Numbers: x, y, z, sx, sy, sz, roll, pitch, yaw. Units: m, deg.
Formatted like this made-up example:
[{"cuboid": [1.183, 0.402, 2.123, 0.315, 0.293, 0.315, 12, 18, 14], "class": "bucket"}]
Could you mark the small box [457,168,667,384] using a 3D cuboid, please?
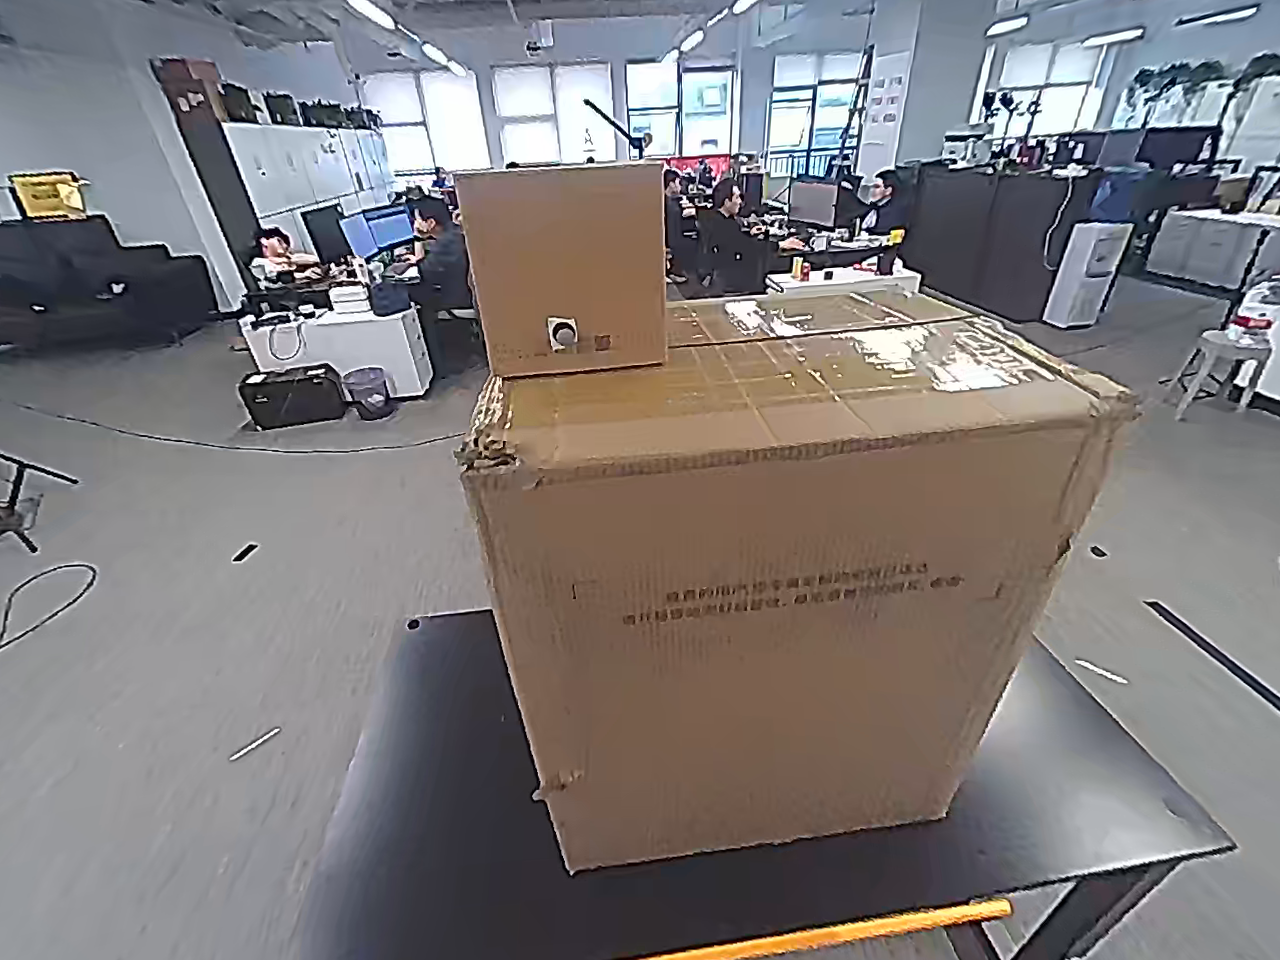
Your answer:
[{"cuboid": [-0.071, -0.207, 0.536, 0.168, 0.176, 0.179, -9, 32, -7], "class": "small box"}]
